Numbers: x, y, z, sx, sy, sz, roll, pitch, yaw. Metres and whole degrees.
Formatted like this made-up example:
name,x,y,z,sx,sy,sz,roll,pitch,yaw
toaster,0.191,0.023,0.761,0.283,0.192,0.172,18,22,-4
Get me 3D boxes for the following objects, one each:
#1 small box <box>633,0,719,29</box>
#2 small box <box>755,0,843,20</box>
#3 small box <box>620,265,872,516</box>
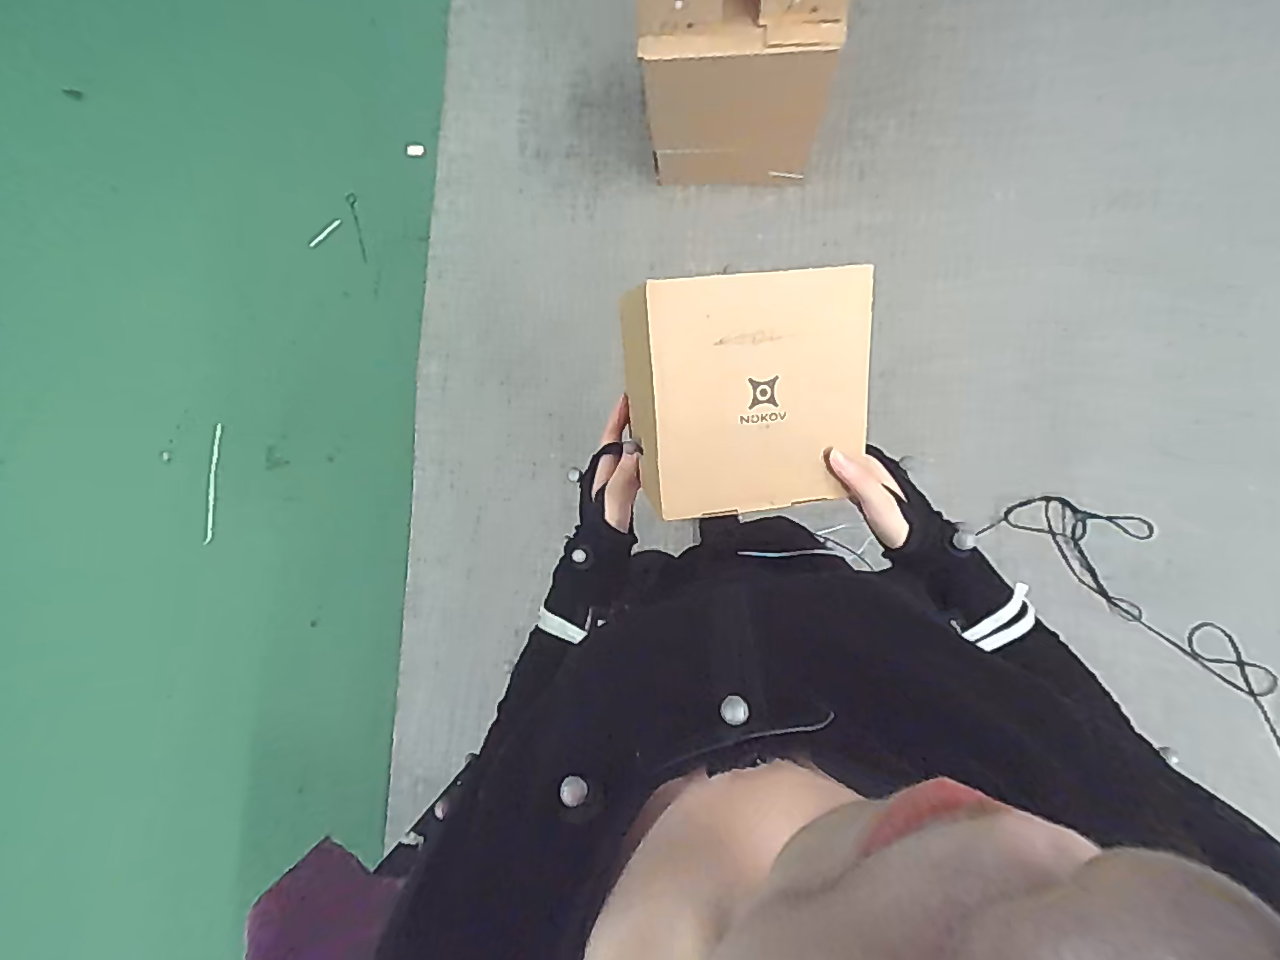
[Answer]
name,x,y,z,sx,sy,sz,roll,pitch,yaw
small box,0.068,-0.981,1.000,0.168,0.176,0.179,3,90,5
small box,0.299,-0.986,0.973,0.168,0.176,0.179,2,88,8
small box,0.076,-0.084,0.472,0.168,0.176,0.179,-6,106,-7
